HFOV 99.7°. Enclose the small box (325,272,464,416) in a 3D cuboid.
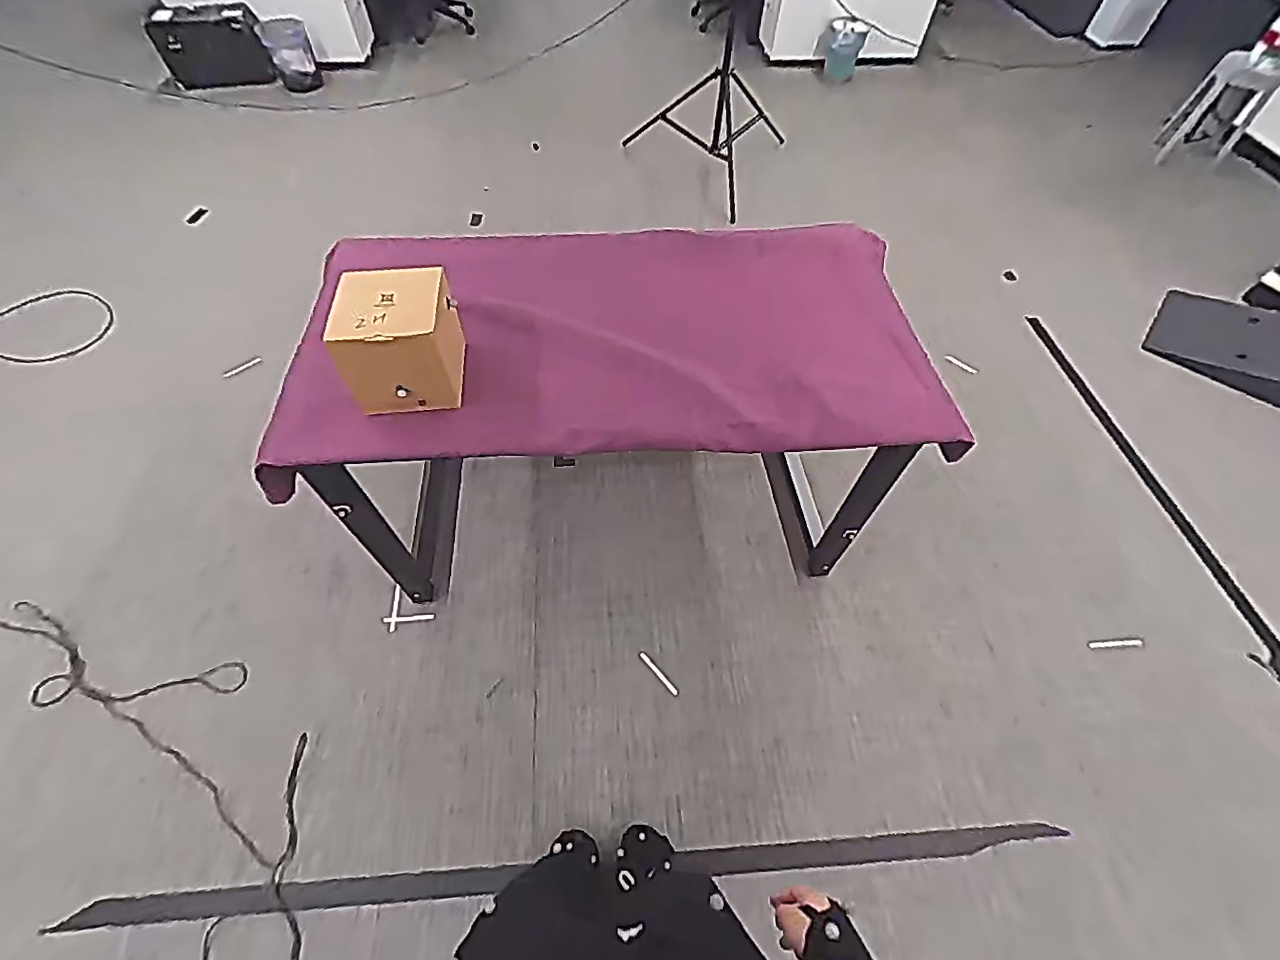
[{"bbox_3d":[-0.409,-0.234,0.938,0.168,0.176,0.179,-6,56,-5],"label":"small box"}]
